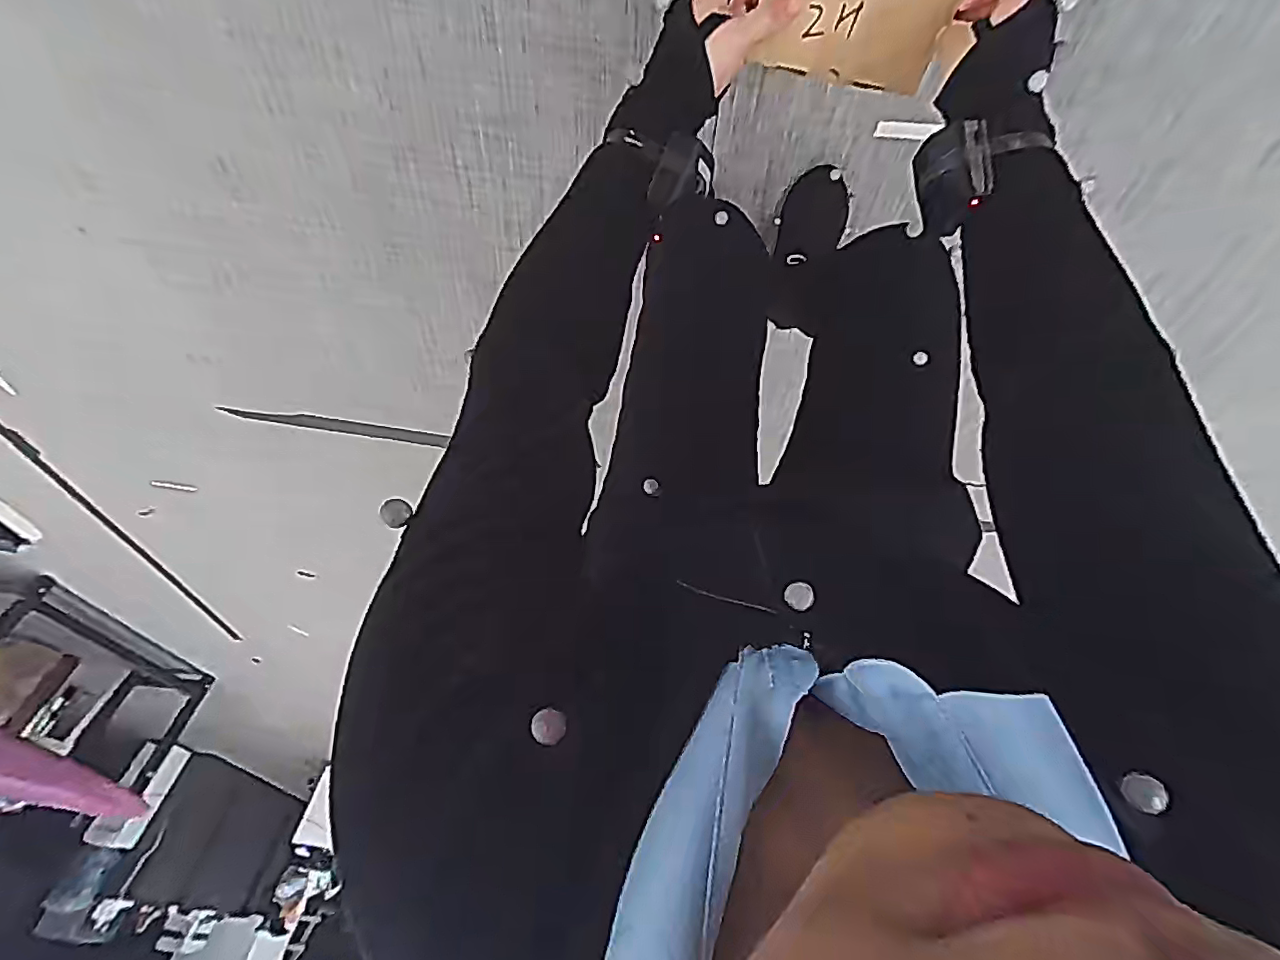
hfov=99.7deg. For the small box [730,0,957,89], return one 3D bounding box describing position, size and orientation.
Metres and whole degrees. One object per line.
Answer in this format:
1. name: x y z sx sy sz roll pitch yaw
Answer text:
1. small box: 0.180 -0.477 0.460 0.168 0.176 0.179 5 143 -9
